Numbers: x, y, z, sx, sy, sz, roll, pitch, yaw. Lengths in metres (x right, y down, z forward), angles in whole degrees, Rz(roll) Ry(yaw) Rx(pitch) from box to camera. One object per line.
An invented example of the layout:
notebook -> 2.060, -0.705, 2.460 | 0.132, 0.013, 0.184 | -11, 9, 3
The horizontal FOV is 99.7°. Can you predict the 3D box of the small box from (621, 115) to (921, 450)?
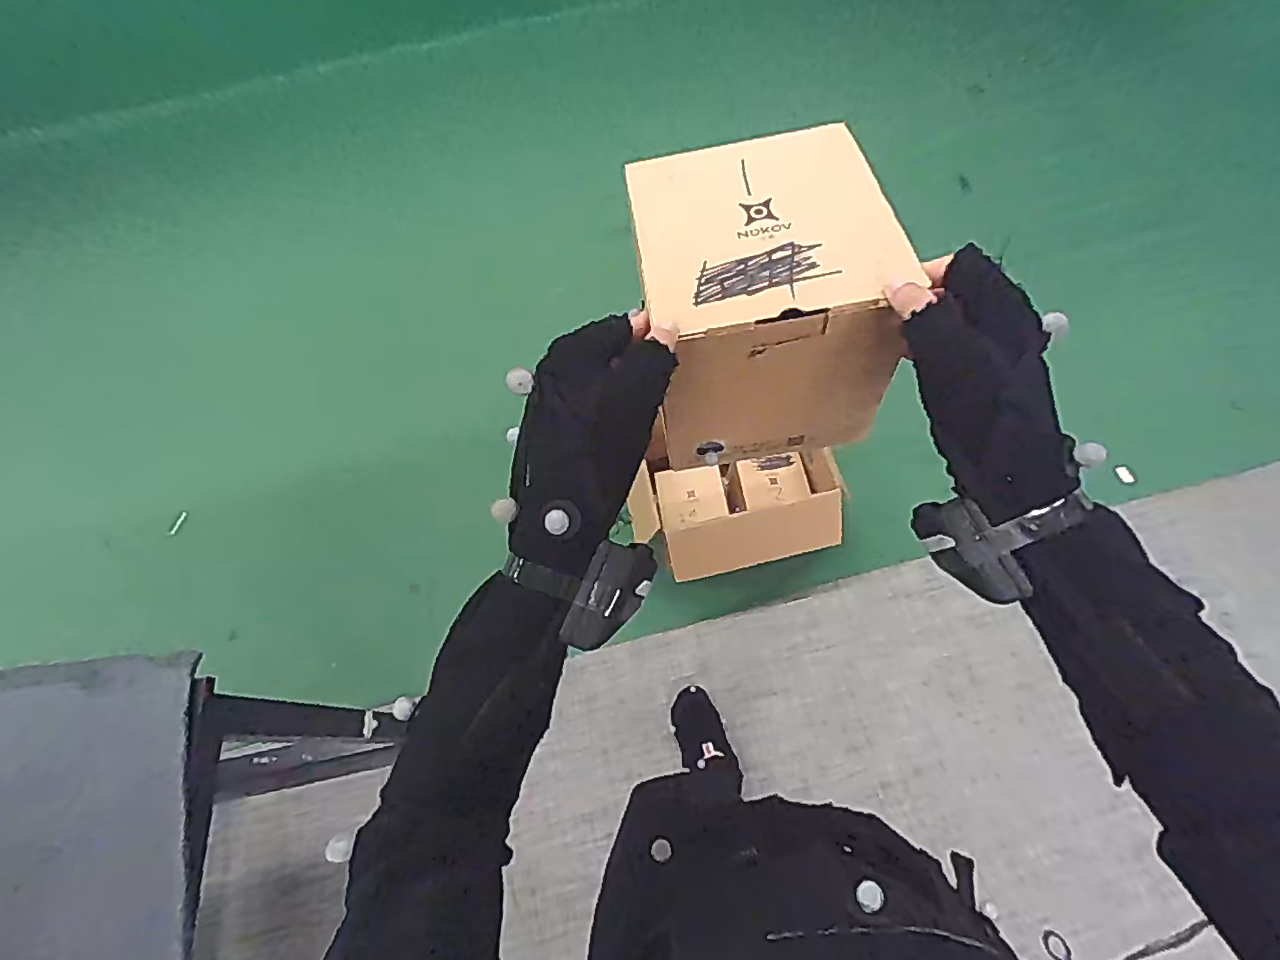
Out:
small box -> 0.086, -0.138, 0.425 | 0.168, 0.176, 0.179 | -10, 62, 3
